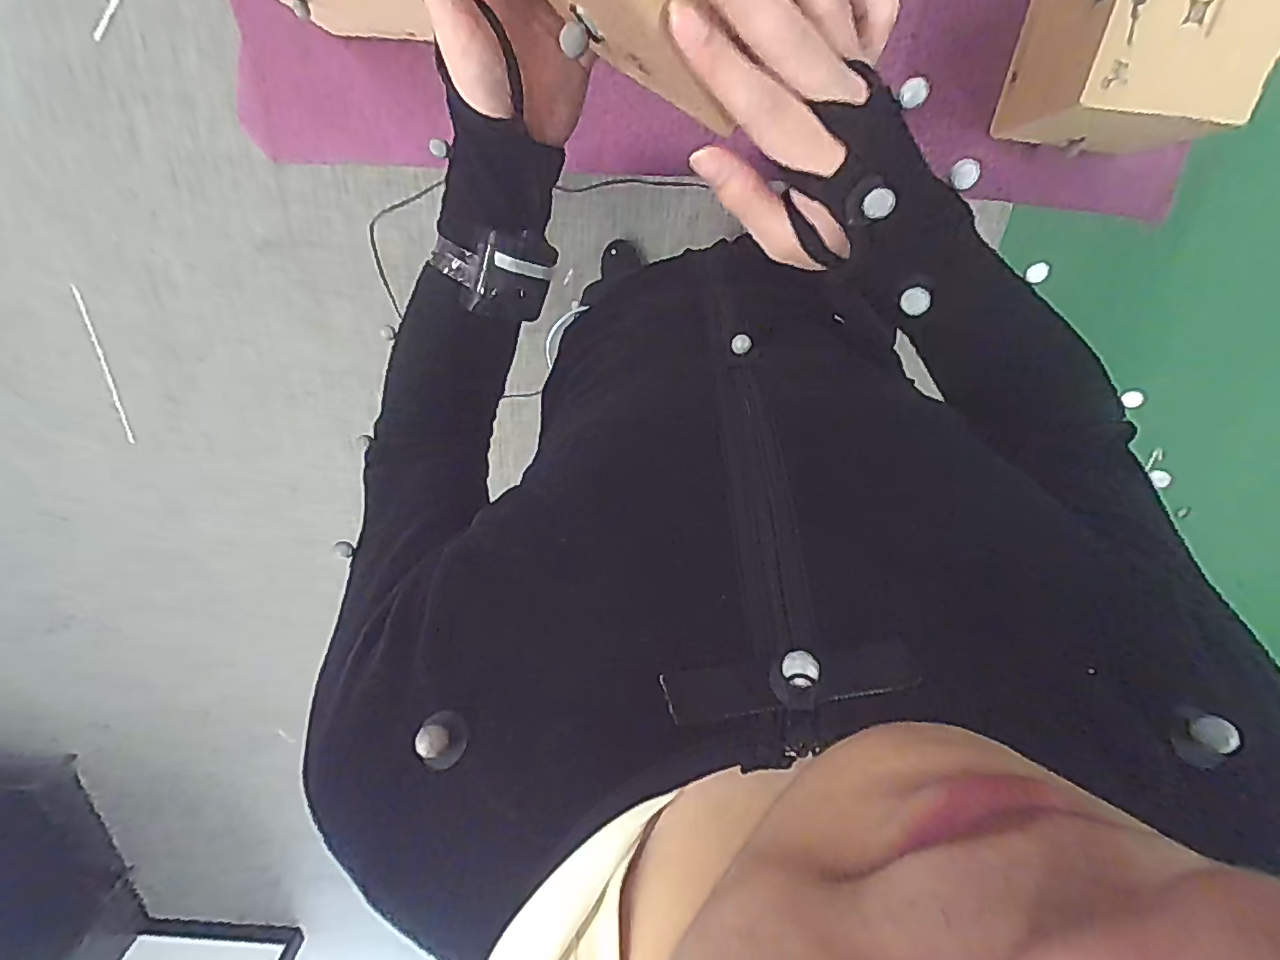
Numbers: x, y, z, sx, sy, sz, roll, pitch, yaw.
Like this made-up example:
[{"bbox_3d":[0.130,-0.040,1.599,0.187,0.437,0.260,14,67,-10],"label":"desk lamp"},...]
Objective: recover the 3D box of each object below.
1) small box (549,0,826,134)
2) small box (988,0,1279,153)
[{"bbox_3d":[0.010,-0.294,0.215,0.179,0.168,0.176,-46,144,20],"label":"small box"},{"bbox_3d":[0.535,-0.472,0.591,0.179,0.176,0.168,7,113,-1],"label":"small box"}]
